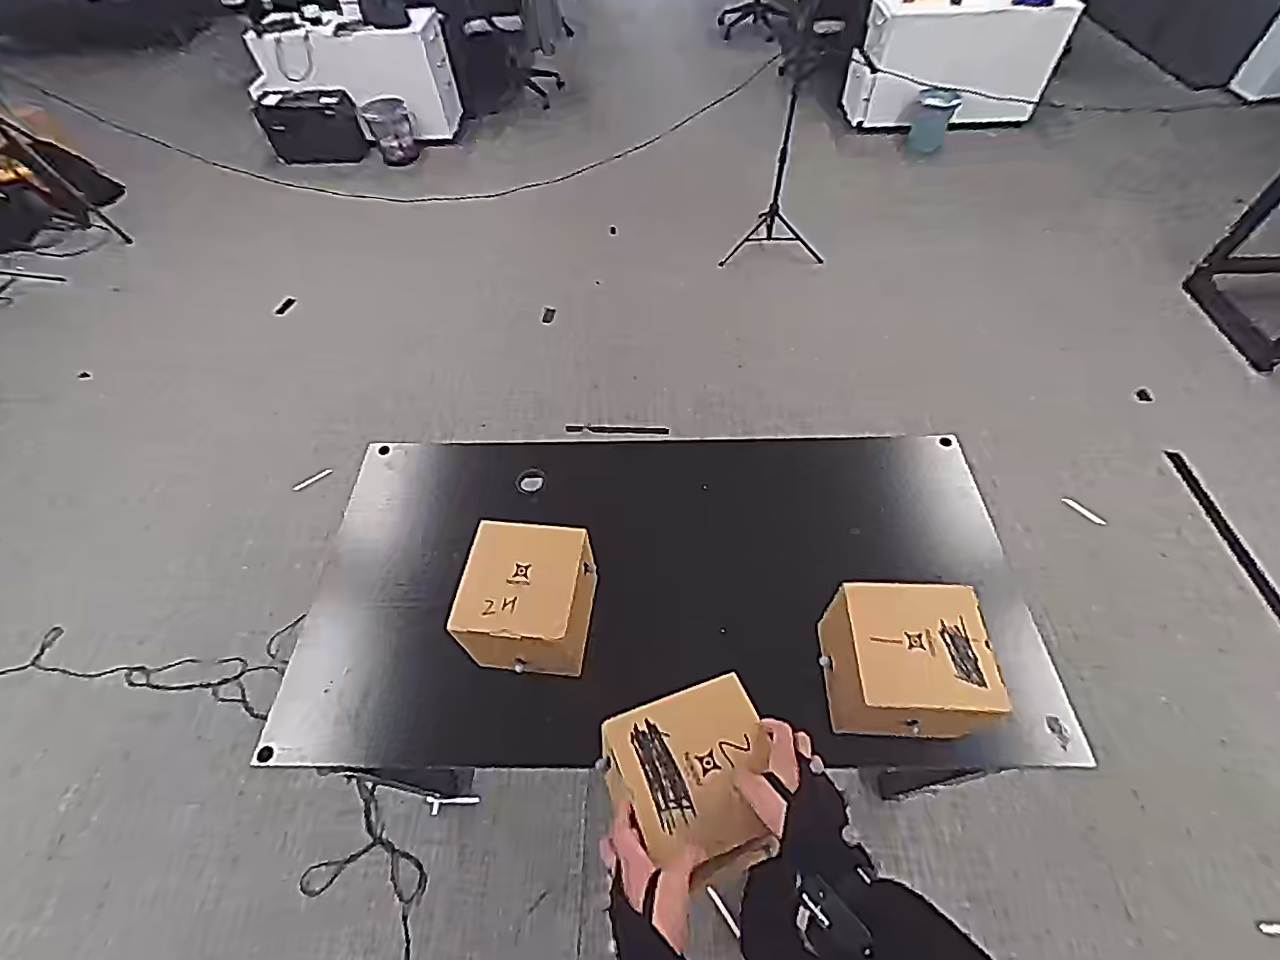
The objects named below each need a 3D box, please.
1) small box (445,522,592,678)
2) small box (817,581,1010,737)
[{"bbox_3d":[-0.171,0.186,0.832,0.168,0.176,0.179,4,55,6],"label":"small box"},{"bbox_3d":[0.363,0.254,0.758,0.179,0.176,0.168,0,54,4],"label":"small box"}]
